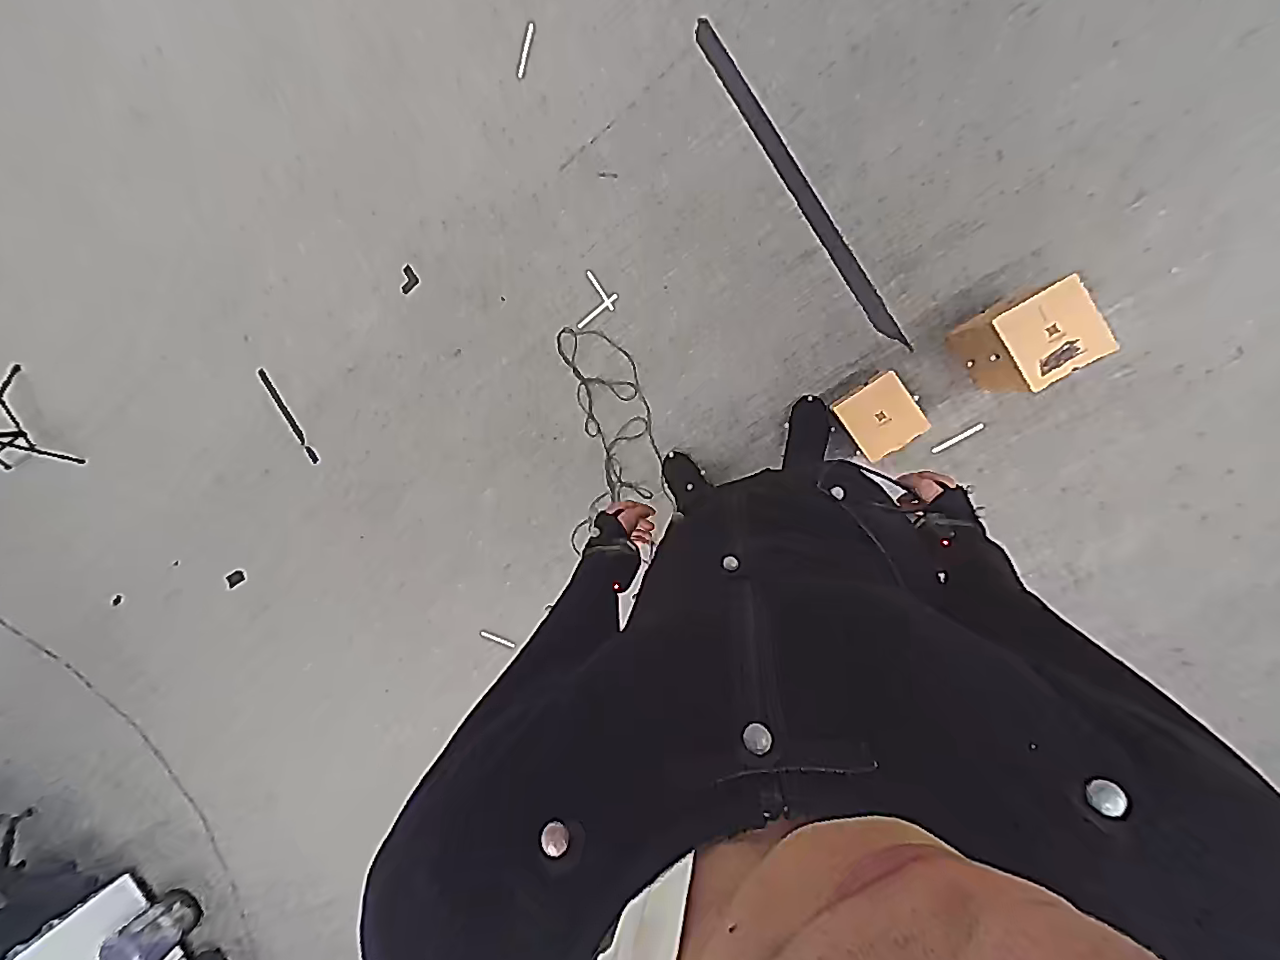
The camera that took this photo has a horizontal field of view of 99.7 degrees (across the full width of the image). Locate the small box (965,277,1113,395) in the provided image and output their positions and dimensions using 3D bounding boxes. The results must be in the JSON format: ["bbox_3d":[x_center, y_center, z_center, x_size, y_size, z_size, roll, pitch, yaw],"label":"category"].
[{"bbox_3d":[0.838,-0.301,1.156,0.168,0.176,0.179,-31,90,17],"label":"small box"}]

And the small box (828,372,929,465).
[{"bbox_3d":[0.613,-0.163,1.417,0.168,0.176,0.179,-35,90,18],"label":"small box"}]
